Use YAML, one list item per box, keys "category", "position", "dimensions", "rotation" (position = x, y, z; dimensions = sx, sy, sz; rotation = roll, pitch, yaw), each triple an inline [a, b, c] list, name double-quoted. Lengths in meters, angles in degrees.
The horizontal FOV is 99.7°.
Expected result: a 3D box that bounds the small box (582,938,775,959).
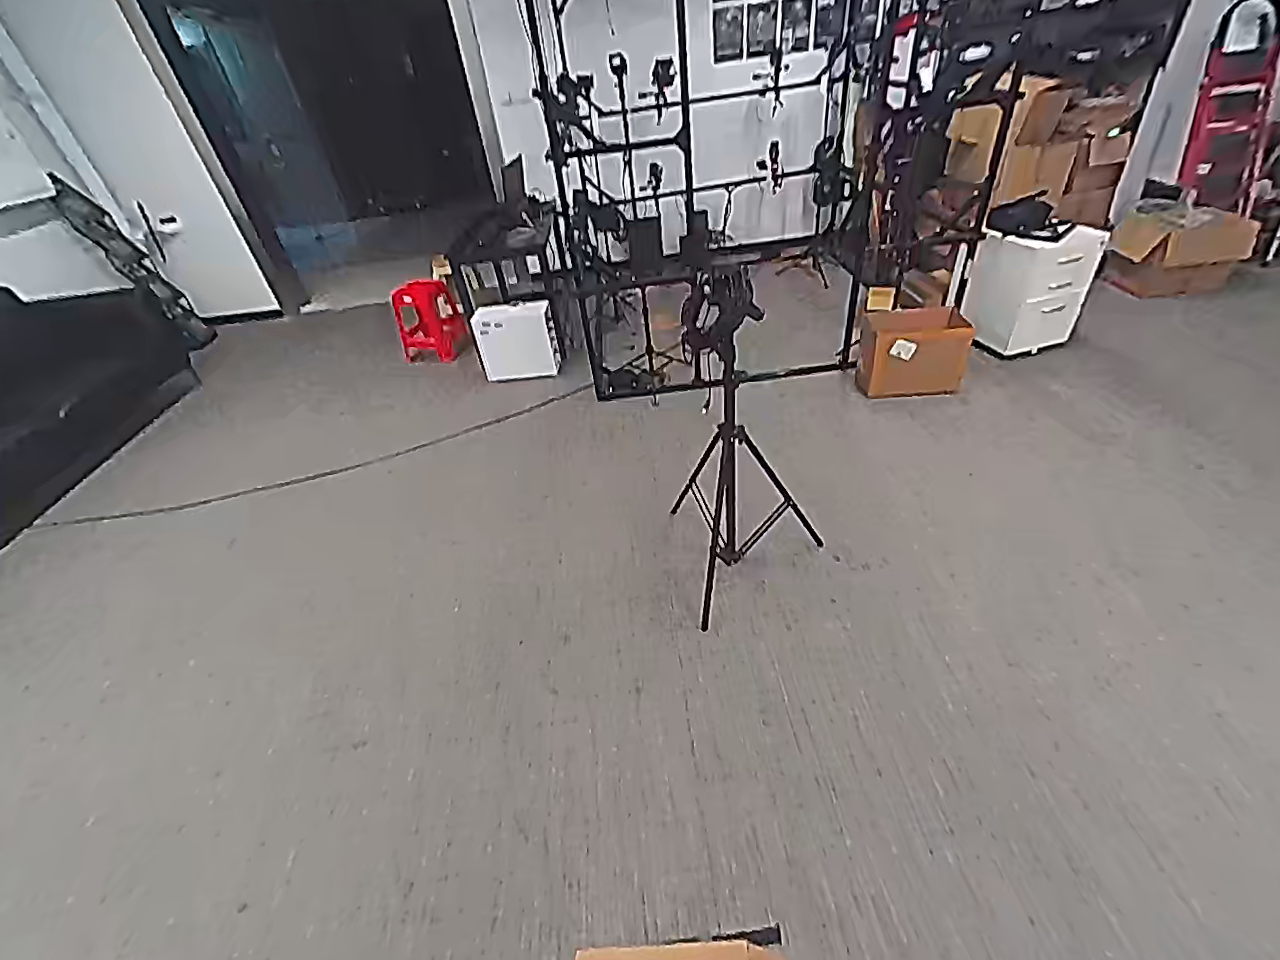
- category: "small box"
  position: [0.052, 0.523, 0.466]
  dimensions: [0.168, 0.176, 0.179]
  rotation: [-16, 43, 14]
